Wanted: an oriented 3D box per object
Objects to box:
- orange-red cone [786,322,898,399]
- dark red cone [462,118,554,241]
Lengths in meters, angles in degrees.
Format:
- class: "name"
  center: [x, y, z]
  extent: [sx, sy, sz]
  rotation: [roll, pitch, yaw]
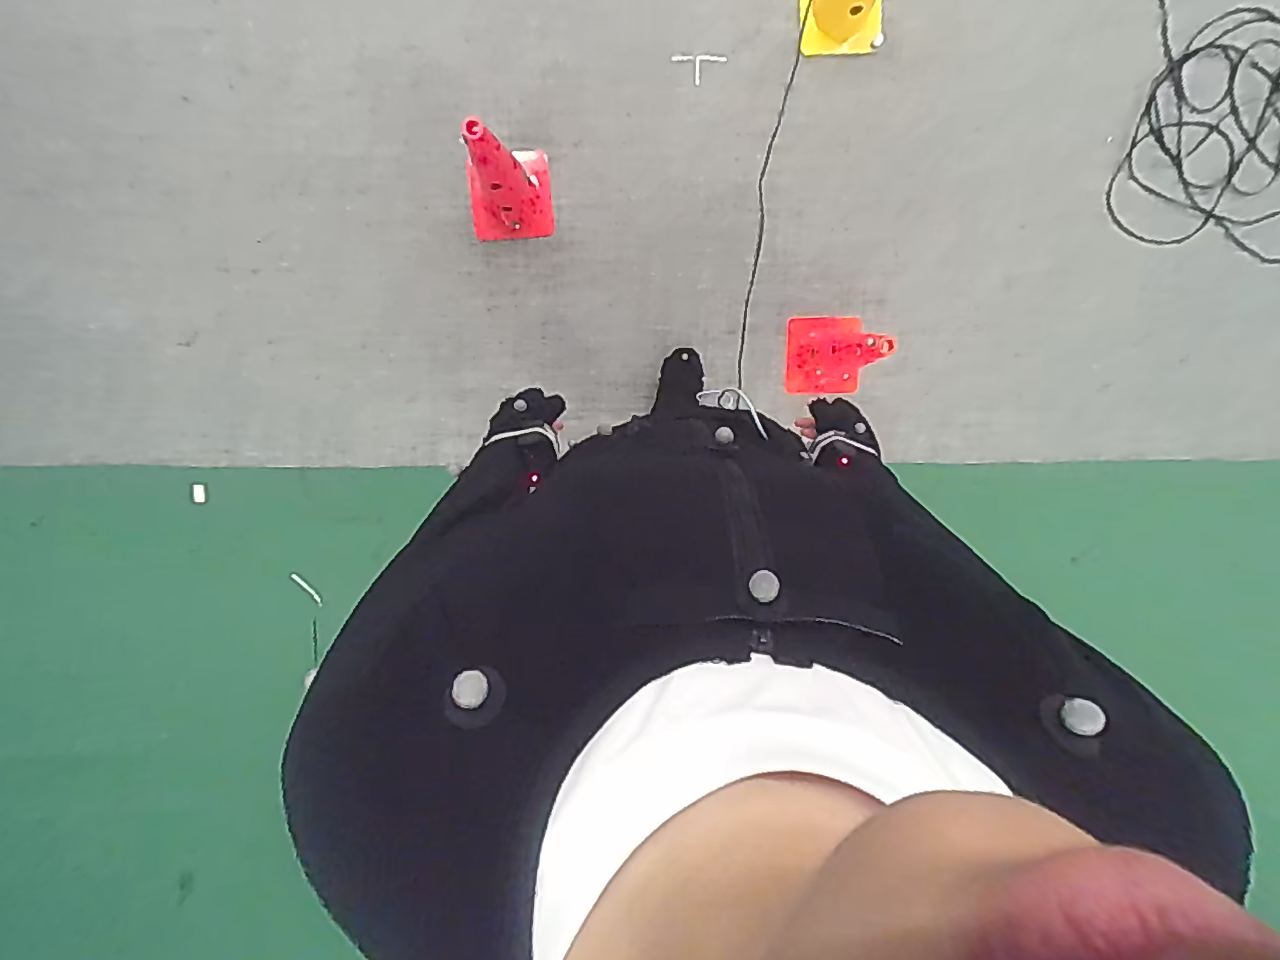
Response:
- class: "orange-red cone"
  center: [0.494, -0.293, 1.267]
  extent: [0.198, 0.360, 0.199]
  rotation: [0, 98, -3]
- class: "dark red cone"
  center: [-0.310, -0.664, 1.157]
  extent: [0.202, 0.394, 0.201]
  rotation: [-6, 100, -1]
